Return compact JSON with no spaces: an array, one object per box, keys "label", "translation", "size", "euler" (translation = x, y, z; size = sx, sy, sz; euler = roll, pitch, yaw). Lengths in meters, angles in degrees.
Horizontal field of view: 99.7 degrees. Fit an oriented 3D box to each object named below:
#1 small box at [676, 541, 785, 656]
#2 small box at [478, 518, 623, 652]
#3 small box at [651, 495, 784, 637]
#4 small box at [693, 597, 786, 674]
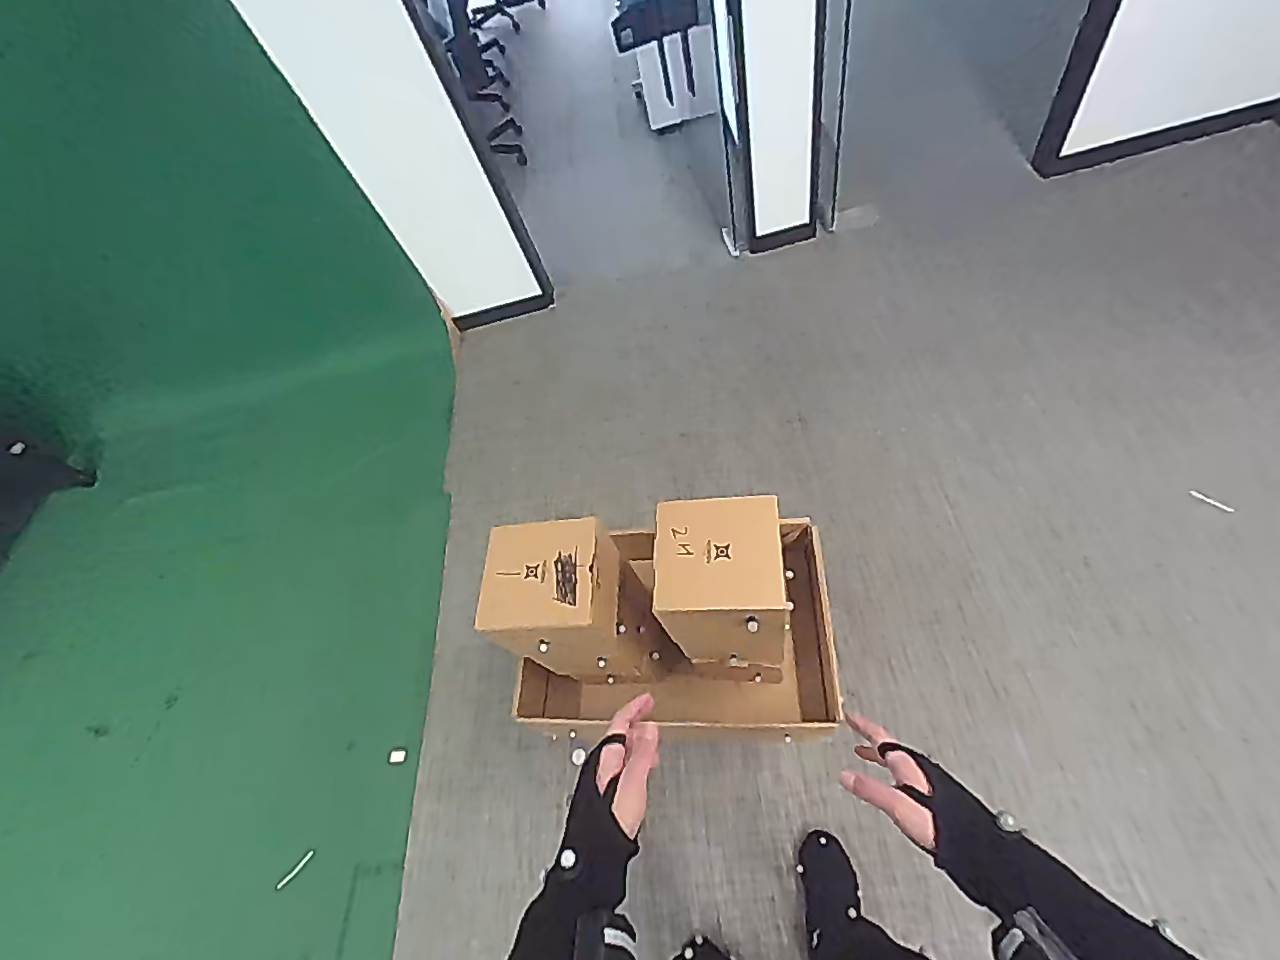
[{"label":"small box","translation":[0.163,0.209,0.955],"size":[0.179,0.176,0.168],"euler":[-2,61,15]},{"label":"small box","translation":[-0.130,0.175,0.869],"size":[0.179,0.176,0.168],"euler":[-7,59,13]},{"label":"small box","translation":[0.122,0.135,0.813],"size":[0.179,0.176,0.168],"euler":[-4,60,14]},{"label":"small box","translation":[0.206,0.287,1.092],"size":[0.168,0.176,0.179],"euler":[-1,61,16]}]
